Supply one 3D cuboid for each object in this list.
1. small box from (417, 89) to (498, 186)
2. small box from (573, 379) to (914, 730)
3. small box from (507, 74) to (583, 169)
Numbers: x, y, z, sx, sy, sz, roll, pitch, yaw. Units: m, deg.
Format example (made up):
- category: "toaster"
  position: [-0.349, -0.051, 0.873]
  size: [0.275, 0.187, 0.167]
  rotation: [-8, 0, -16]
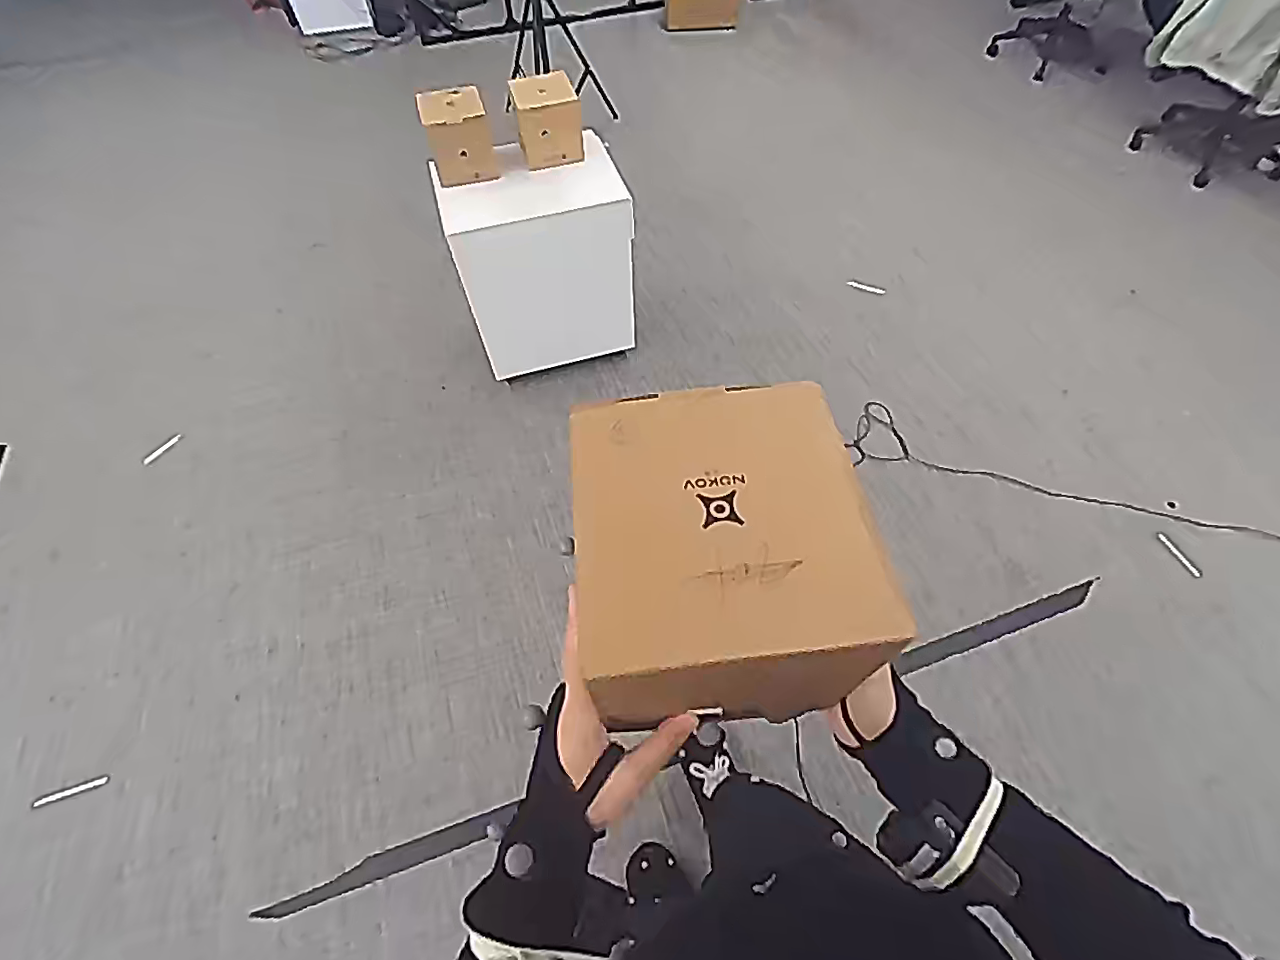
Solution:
- category: "small box"
  position: [-0.504, -0.947, 1.508]
  size: [0.168, 0.176, 0.179]
  rotation: [-15, 61, -10]
- category: "small box"
  position: [0.047, 0.057, 0.374]
  size: [0.168, 0.176, 0.179]
  rotation: [-7, 57, -2]
- category: "small box"
  position: [-0.267, -1.019, 1.549]
  size: [0.168, 0.176, 0.179]
  rotation: [-16, 60, -8]
